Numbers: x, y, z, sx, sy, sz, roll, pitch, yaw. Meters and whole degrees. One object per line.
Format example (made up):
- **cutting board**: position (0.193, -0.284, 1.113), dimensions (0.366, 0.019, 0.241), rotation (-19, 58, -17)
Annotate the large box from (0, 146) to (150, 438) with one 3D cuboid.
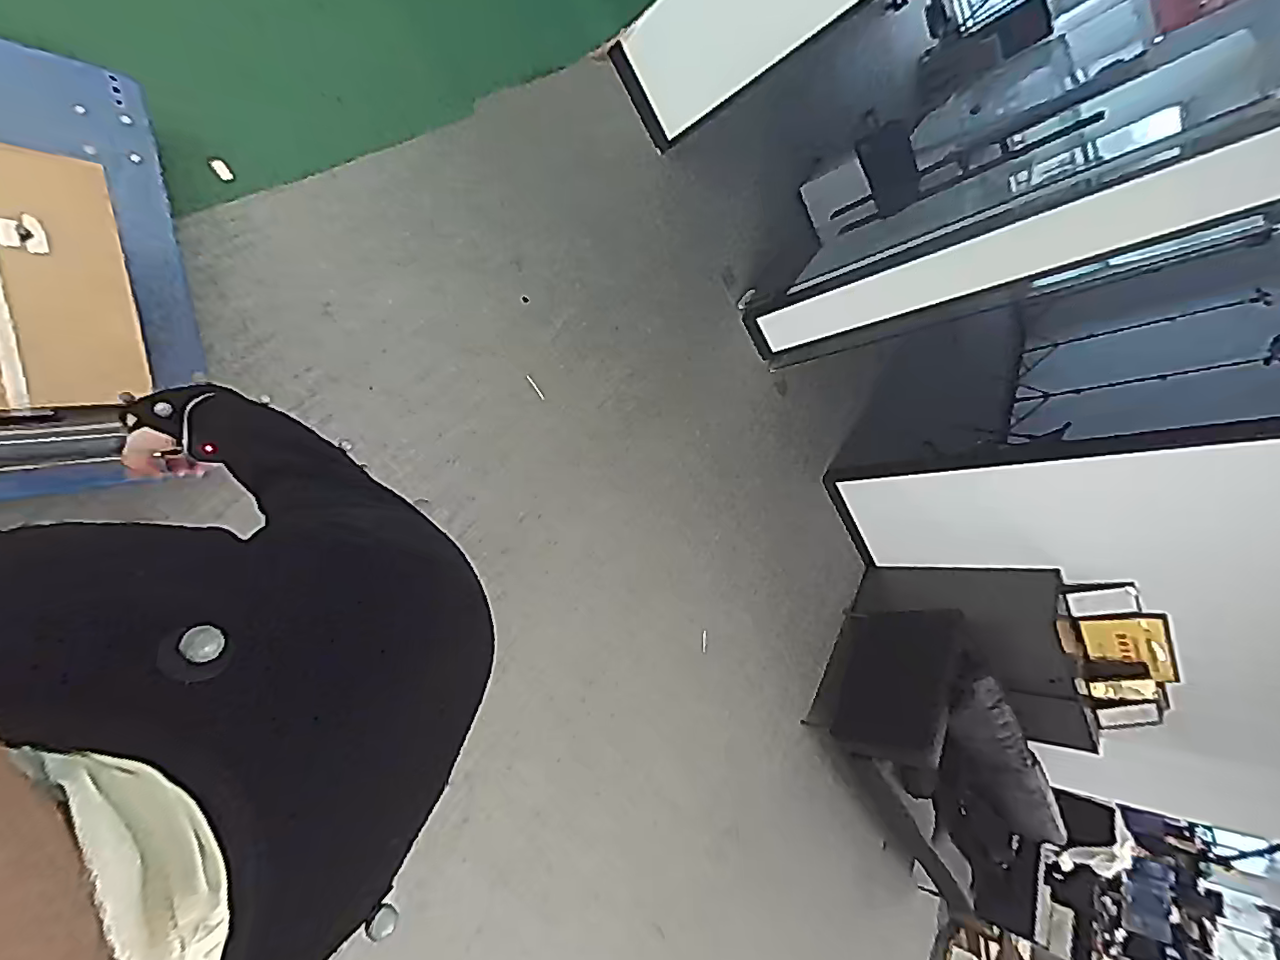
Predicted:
- **large box**: position (-1.079, -0.293, 0.911), dimensions (0.320, 0.320, 0.408), rotation (-13, 92, -45)
